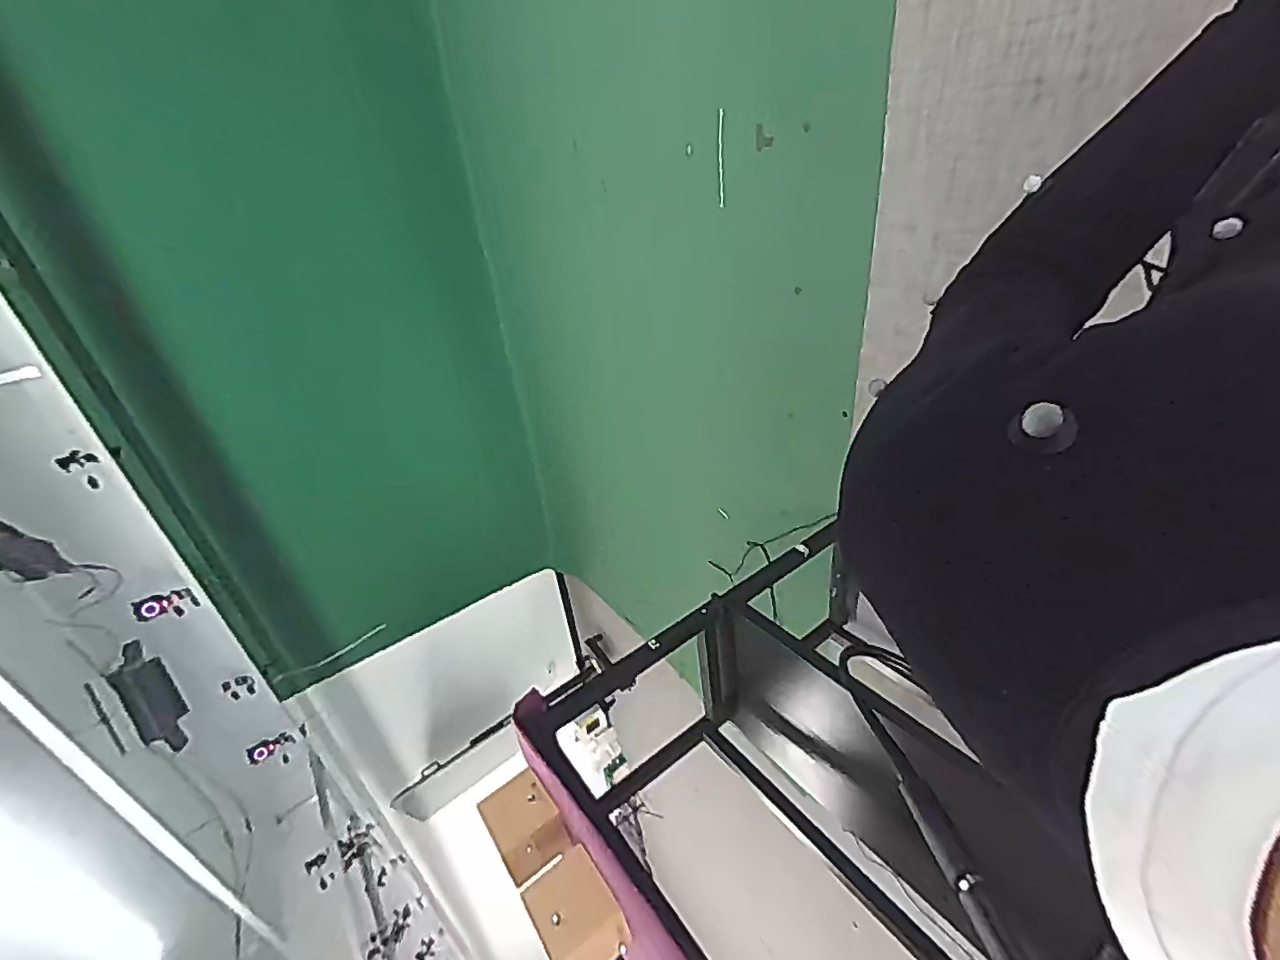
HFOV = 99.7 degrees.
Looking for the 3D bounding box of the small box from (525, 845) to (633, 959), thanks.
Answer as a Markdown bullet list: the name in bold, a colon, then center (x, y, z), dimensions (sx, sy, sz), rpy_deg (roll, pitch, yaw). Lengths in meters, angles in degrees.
- **small box**: center (-0.129, 0.979, 1.213), dimensions (0.179, 0.176, 0.168), rpy_deg (30, 137, 48)
